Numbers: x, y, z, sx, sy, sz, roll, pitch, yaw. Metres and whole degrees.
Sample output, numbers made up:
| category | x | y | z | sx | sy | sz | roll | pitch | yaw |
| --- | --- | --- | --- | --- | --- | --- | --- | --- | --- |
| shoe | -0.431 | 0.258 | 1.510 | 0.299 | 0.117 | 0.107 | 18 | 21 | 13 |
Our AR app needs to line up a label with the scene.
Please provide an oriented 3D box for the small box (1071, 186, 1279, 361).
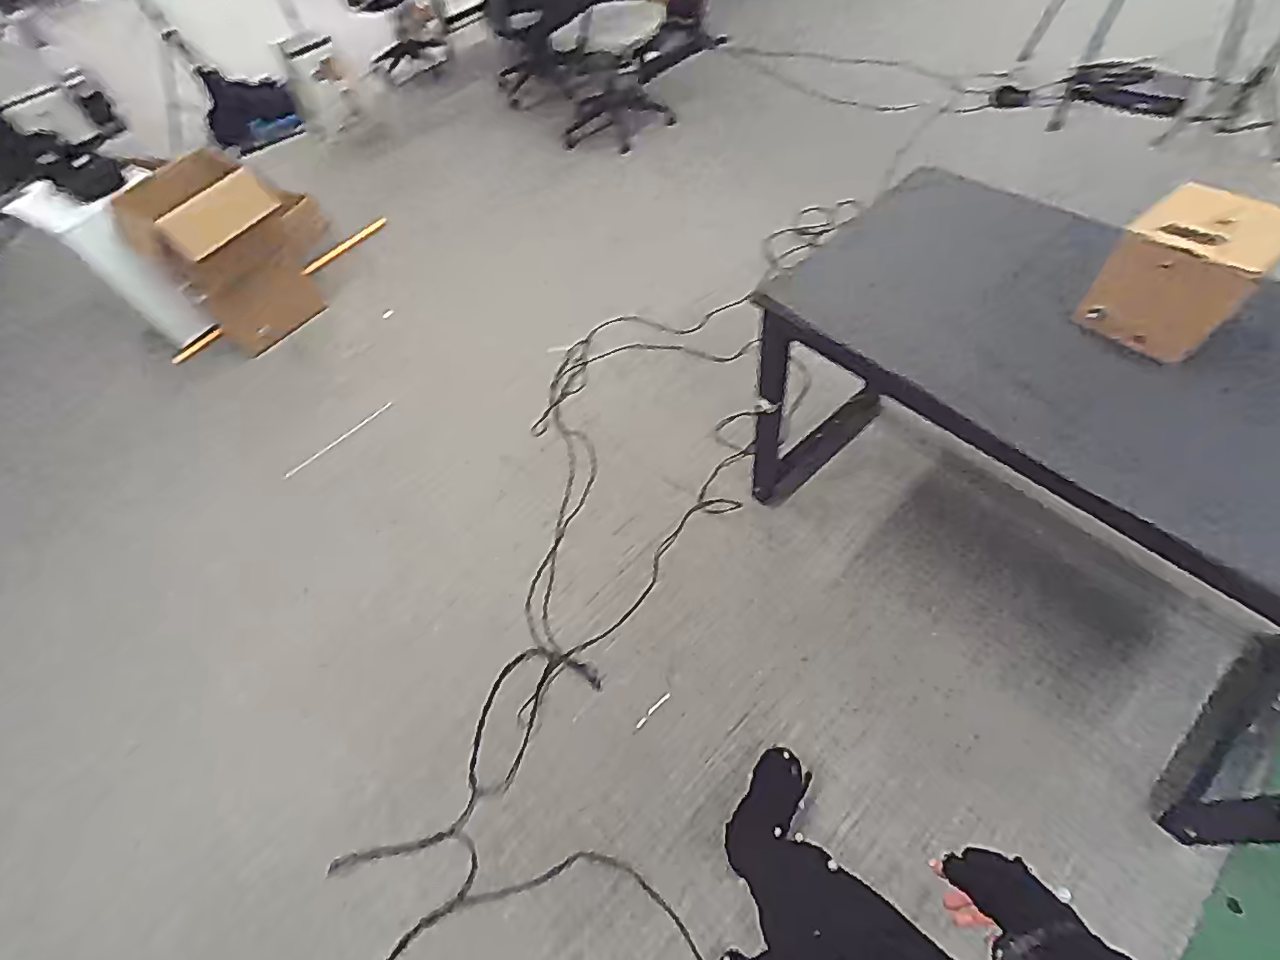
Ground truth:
| category | x | y | z | sx | sy | sz | roll | pitch | yaw |
| --- | --- | --- | --- | --- | --- | --- | --- | --- | --- |
| small box | 0.834 | -0.320 | 0.851 | 0.179 | 0.176 | 0.168 | -36 | 59 | -16 |
